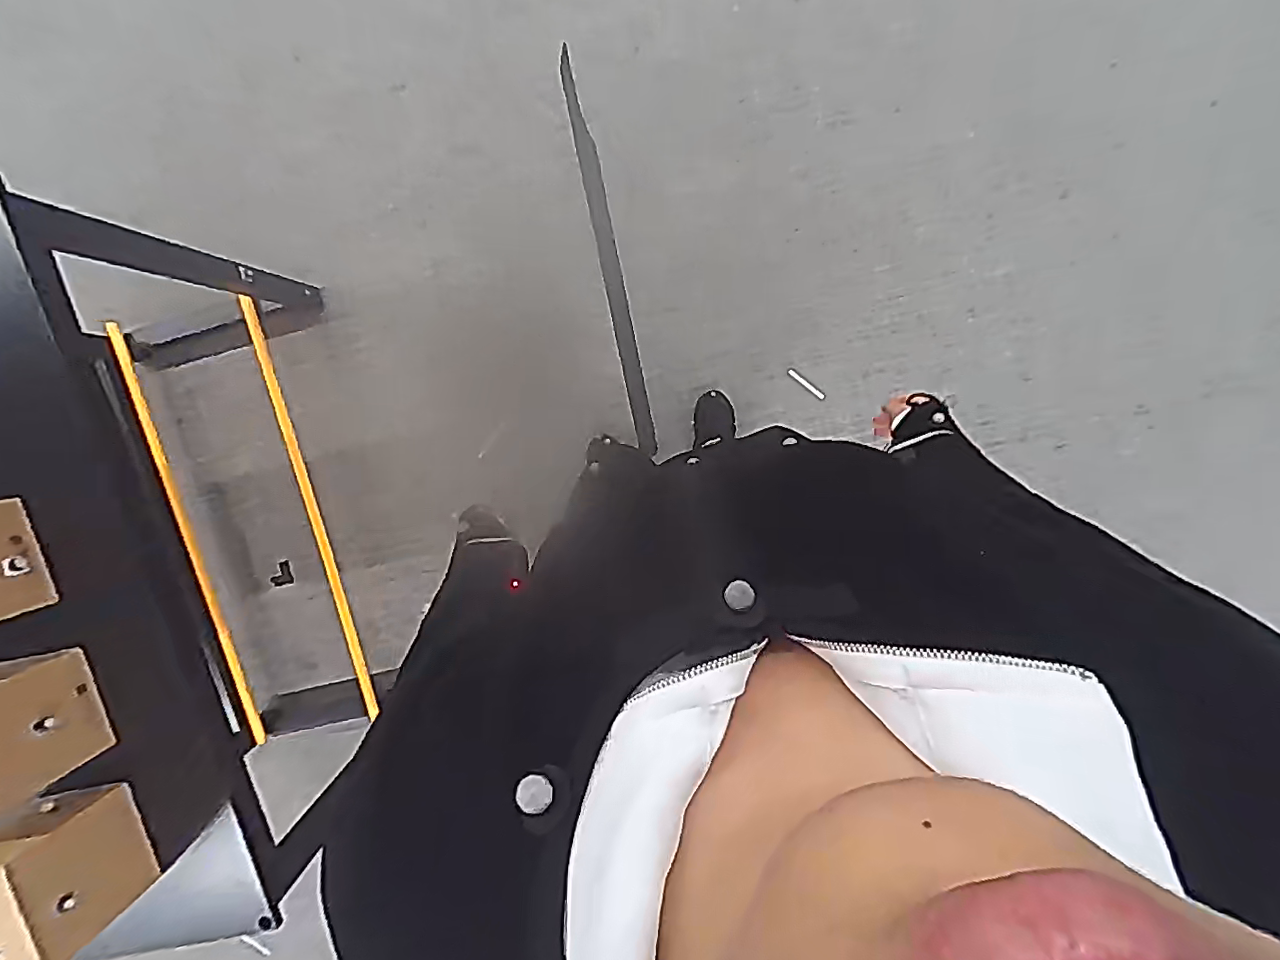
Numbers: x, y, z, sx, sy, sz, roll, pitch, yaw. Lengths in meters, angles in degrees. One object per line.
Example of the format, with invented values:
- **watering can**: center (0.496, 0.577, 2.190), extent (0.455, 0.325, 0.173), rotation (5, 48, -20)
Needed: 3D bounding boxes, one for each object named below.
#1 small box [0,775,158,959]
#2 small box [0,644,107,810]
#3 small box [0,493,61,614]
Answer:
- **small box**: center (-0.883, 0.581, 0.805), extent (0.168, 0.176, 0.179), rotation (-12, 97, 4)
- **small box**: center (-0.928, 0.355, 0.773), extent (0.179, 0.176, 0.168), rotation (-12, 98, 4)
- **small box**: center (-0.983, 0.125, 0.741), extent (0.179, 0.176, 0.168), rotation (-14, 99, 4)
